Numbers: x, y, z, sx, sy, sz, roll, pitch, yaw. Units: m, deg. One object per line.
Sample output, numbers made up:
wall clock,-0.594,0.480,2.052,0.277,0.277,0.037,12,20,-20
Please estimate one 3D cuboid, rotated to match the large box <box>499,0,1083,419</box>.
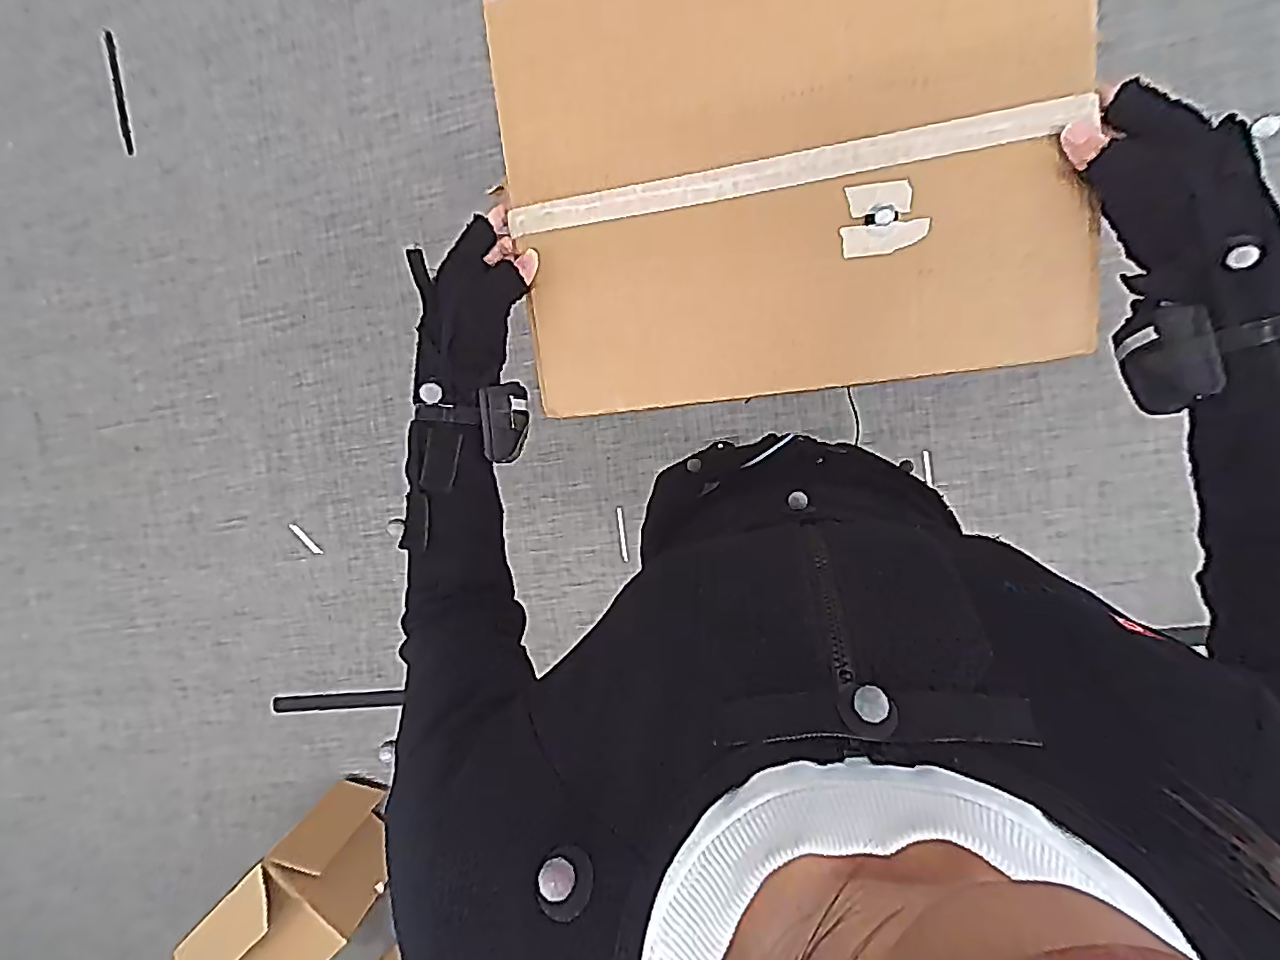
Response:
large box,0.125,-0.247,0.547,0.408,0.320,0.320,-6,99,10
